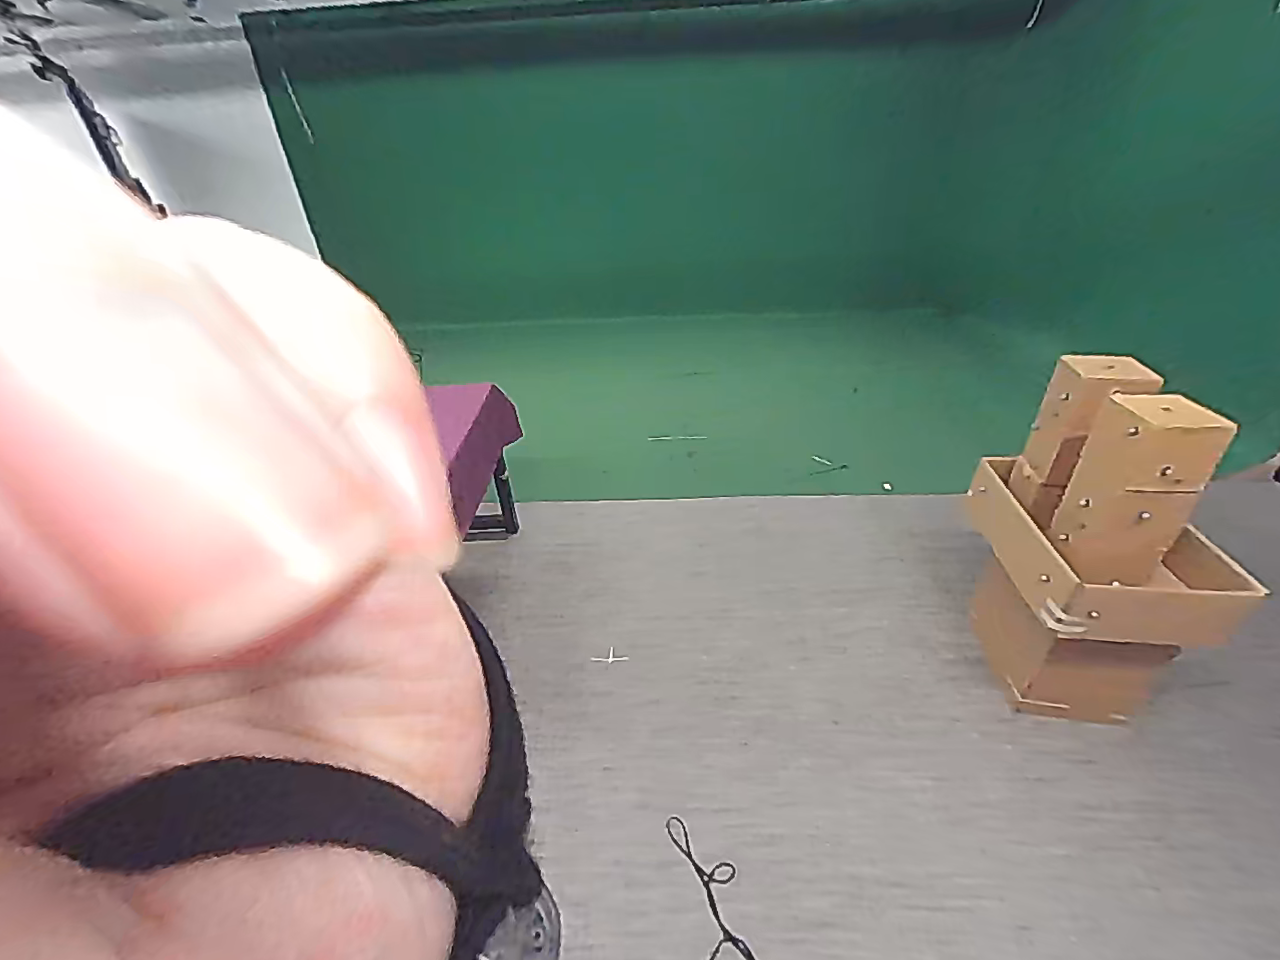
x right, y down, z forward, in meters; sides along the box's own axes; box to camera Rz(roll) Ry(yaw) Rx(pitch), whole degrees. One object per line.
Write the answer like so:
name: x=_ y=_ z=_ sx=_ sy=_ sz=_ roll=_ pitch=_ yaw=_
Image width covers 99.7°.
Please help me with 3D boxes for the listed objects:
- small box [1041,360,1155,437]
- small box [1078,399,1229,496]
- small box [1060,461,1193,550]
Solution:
small box: x=1.254 y=-0.224 z=1.502 sx=0.179 sy=0.176 sz=0.168 roll=5 pitch=34 yaw=12
small box: x=1.196 y=-0.080 z=1.280 sx=0.168 sy=0.176 sz=0.179 roll=1 pitch=32 yaw=6
small box: x=1.204 y=0.062 z=1.361 sx=0.179 sy=0.176 sz=0.168 roll=0 pitch=32 yaw=6
